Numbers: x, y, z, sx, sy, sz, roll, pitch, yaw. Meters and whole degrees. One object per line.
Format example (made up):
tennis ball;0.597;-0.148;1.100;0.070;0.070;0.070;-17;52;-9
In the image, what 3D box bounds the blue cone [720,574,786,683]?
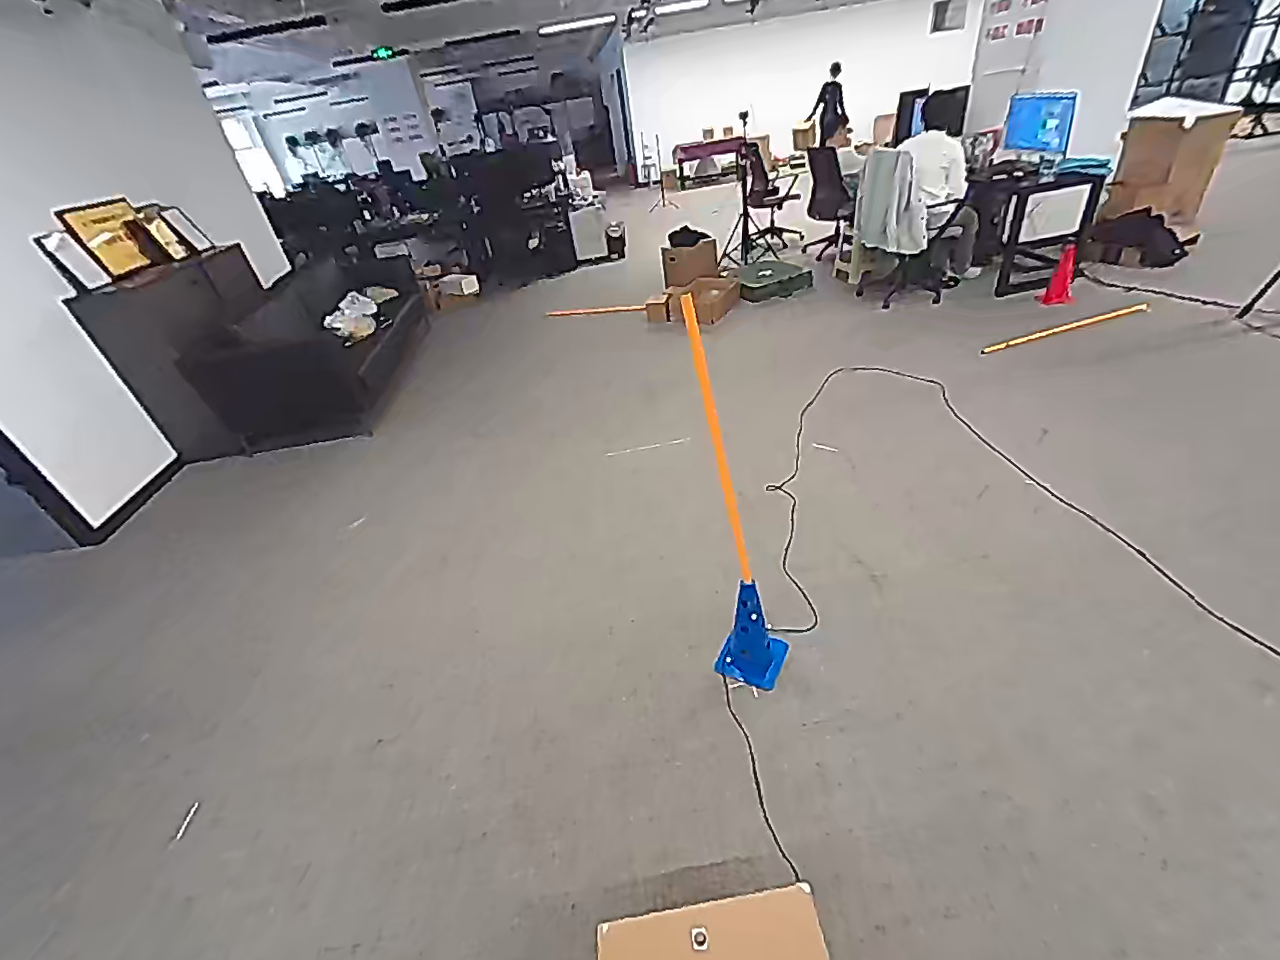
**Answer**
blue cone;0.344;0.438;1.680;0.192;0.380;0.193;9;40;27
